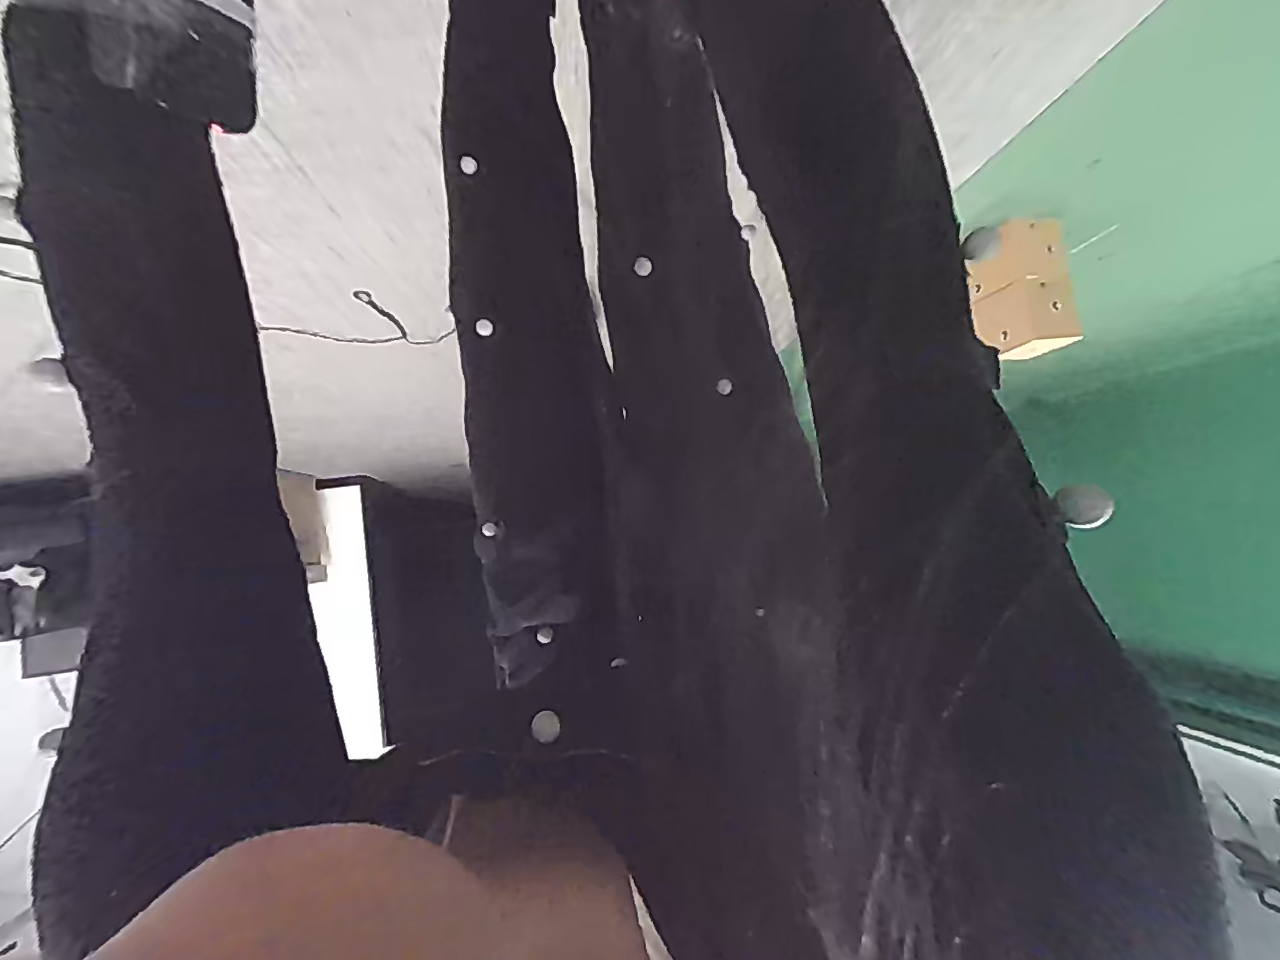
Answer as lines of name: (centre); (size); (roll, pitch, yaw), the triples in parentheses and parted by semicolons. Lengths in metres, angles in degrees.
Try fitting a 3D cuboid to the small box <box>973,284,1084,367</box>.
small box: (1.045, -0.421, 1.470); (0.168, 0.176, 0.179); (-6, 175, -11)
